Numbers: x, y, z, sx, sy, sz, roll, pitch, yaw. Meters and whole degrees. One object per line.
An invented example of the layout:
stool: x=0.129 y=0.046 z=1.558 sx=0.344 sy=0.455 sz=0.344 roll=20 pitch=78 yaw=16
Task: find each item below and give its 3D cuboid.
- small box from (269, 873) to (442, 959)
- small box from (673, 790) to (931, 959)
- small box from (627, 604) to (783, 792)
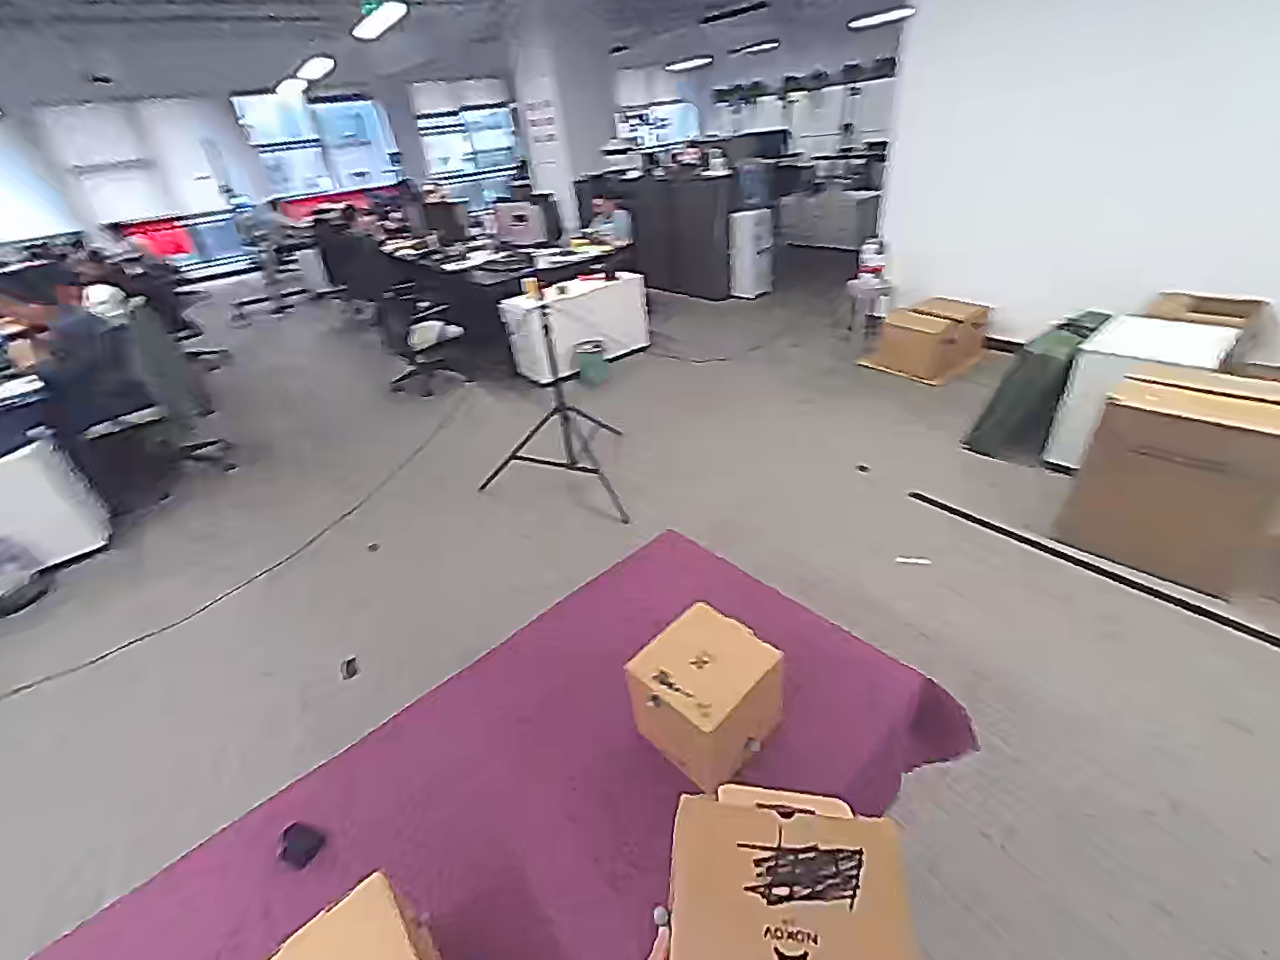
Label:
small box: x=-0.291 y=0.574 z=0.558 sx=0.168 sy=0.176 sz=0.179 roll=-32 pitch=41 yaw=-31
small box: x=0.111 y=0.367 z=0.417 sx=0.168 sy=0.176 sz=0.179 roll=4 pitch=49 yaw=6
small box: x=0.102 y=0.336 z=0.847 sx=0.179 sy=0.176 sz=0.168 roll=-31 pitch=40 yaw=-33
